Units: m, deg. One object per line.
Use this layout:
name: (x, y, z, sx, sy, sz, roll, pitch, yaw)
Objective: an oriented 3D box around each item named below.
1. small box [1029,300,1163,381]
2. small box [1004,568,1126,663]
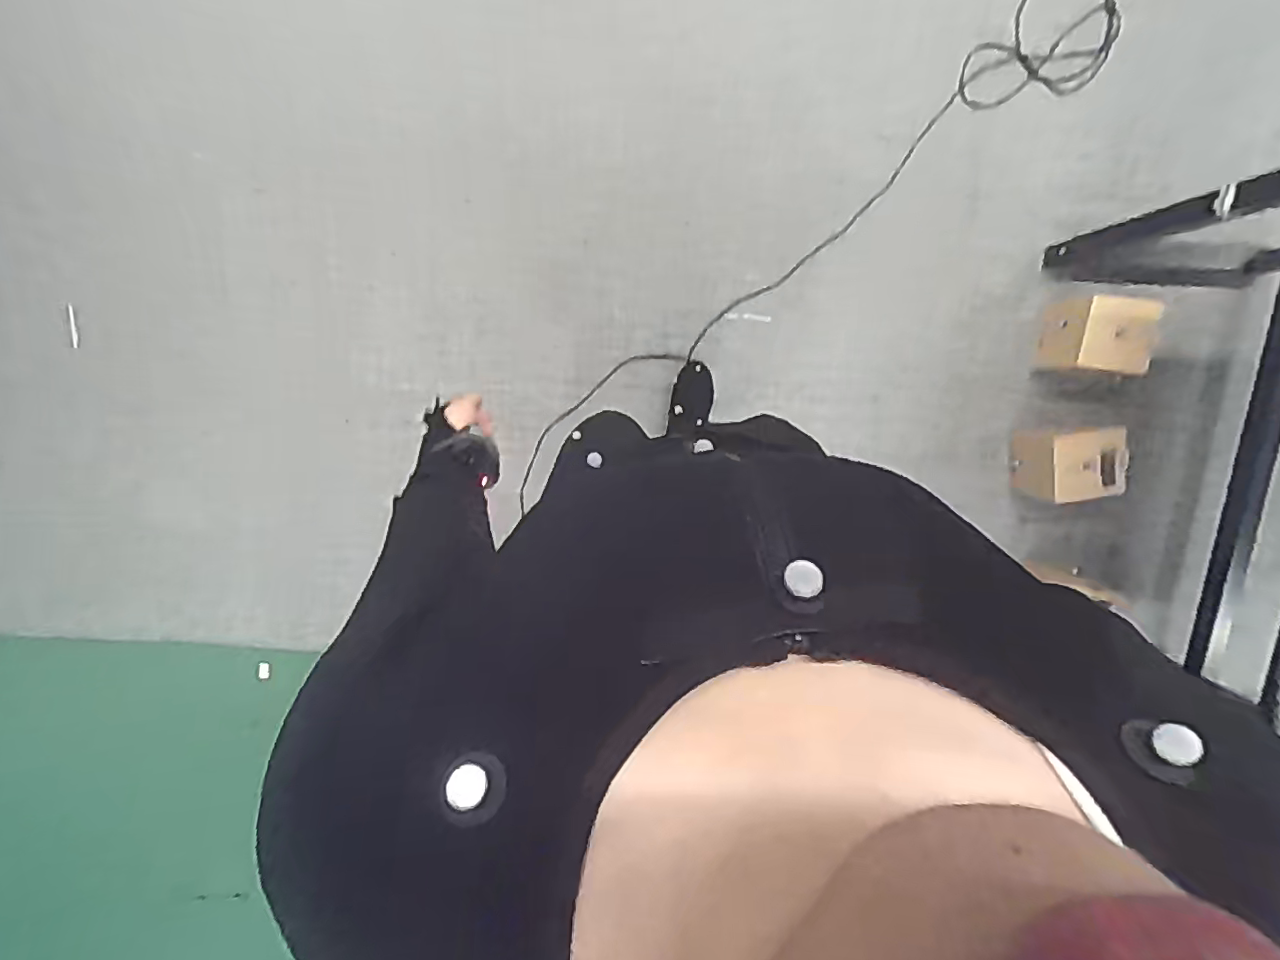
small box: (1.120, -0.339, 1.344, 0.179, 0.176, 0.168, 7, 99, -2)
small box: (1.134, 0.357, 1.459, 0.168, 0.176, 0.179, 15, 101, -3)
